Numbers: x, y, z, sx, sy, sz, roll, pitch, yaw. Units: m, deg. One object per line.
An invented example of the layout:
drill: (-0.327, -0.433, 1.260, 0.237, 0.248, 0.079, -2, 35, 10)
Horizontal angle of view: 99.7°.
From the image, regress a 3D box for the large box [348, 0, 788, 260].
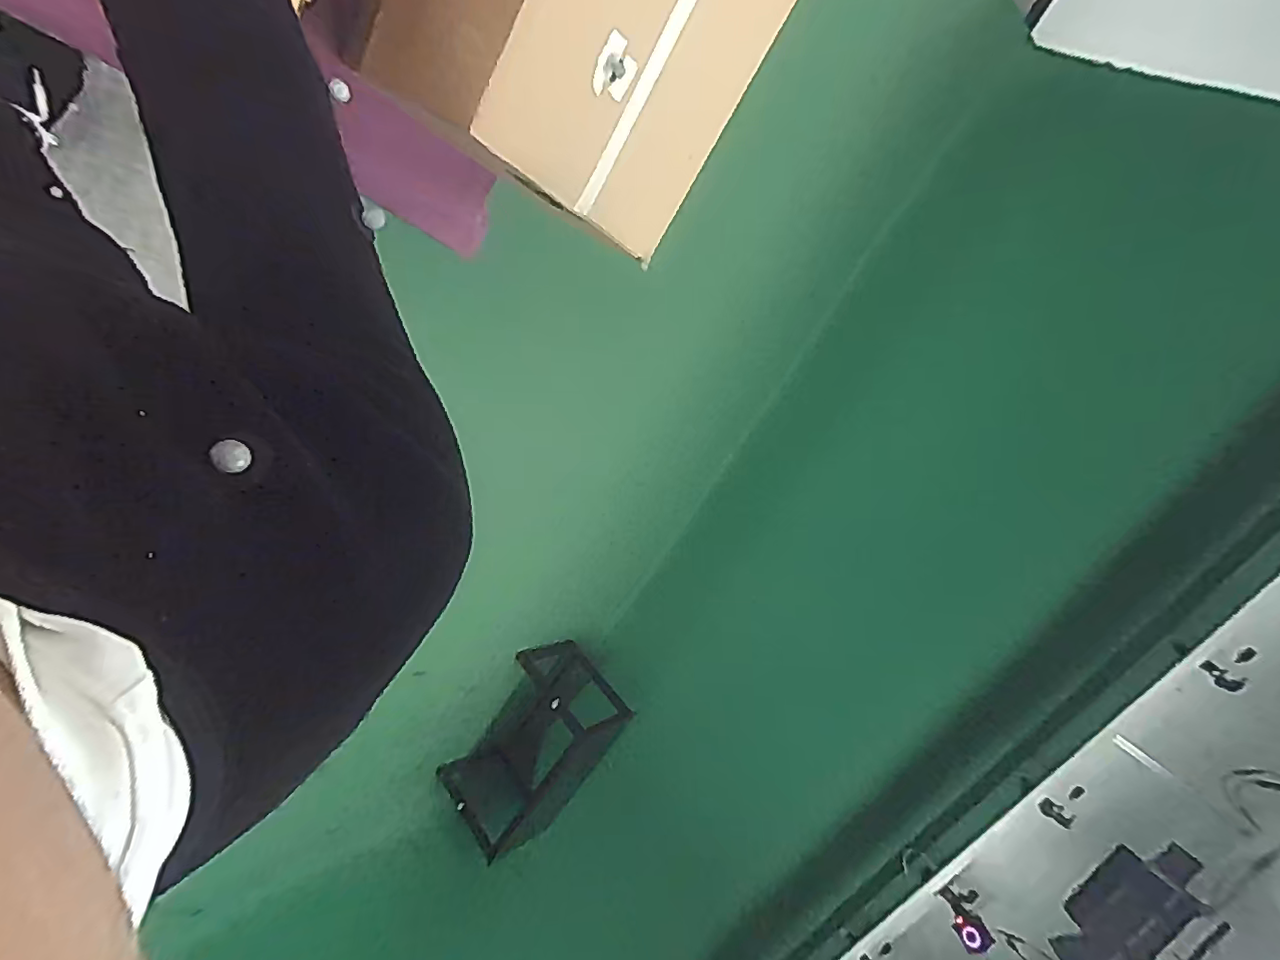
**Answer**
large box: (-0.077, -0.566, 0.650, 0.320, 0.320, 0.408, 7, 121, -56)
